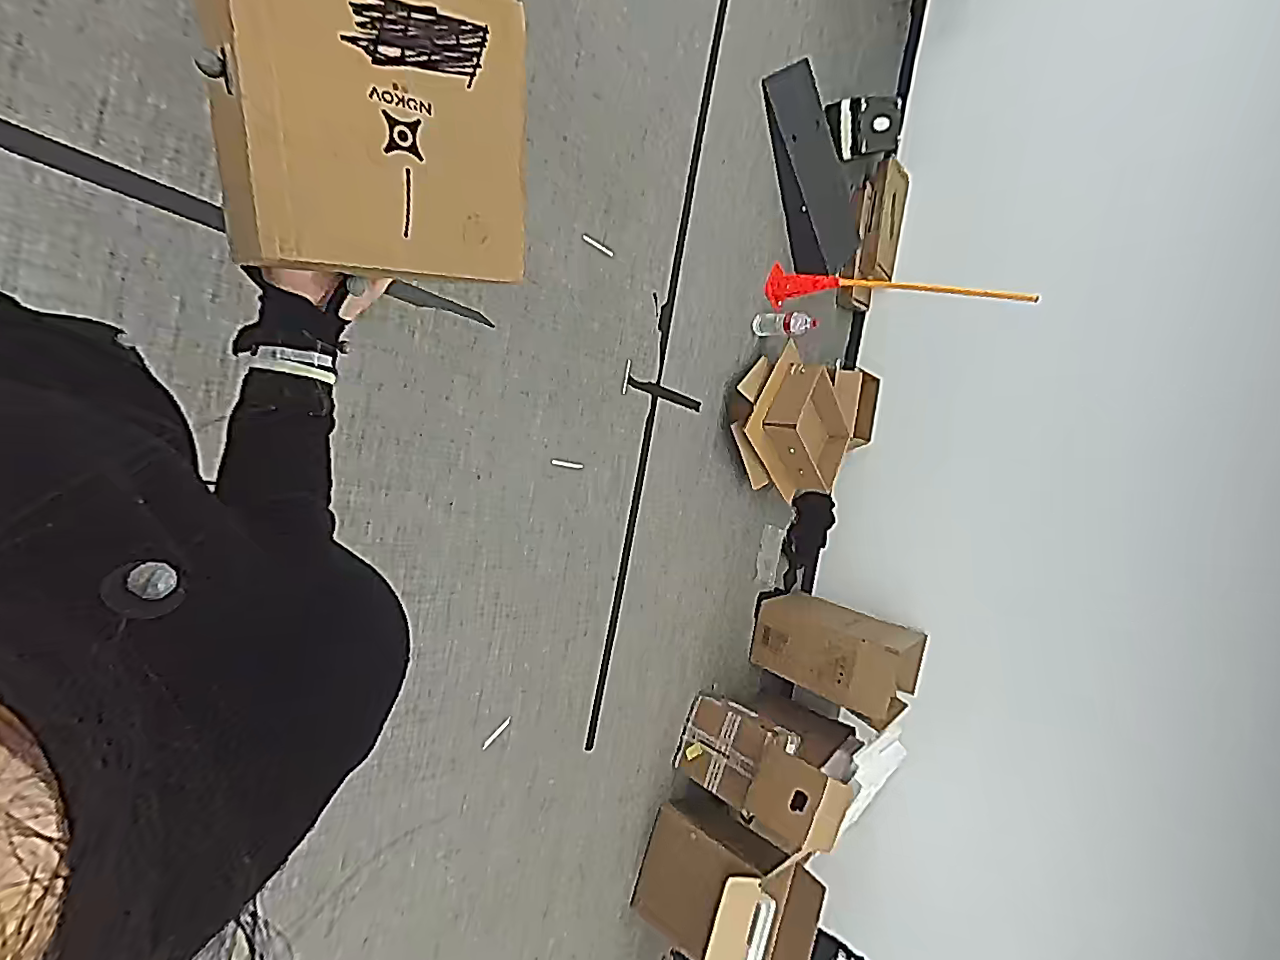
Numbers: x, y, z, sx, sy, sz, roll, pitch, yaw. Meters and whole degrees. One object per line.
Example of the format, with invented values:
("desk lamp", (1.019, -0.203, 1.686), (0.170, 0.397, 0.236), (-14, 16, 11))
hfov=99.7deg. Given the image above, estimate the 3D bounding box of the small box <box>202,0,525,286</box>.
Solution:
("small box", (-0.198, -0.241, 0.393), (0.168, 0.176, 0.179), (-11, 113, -39))
